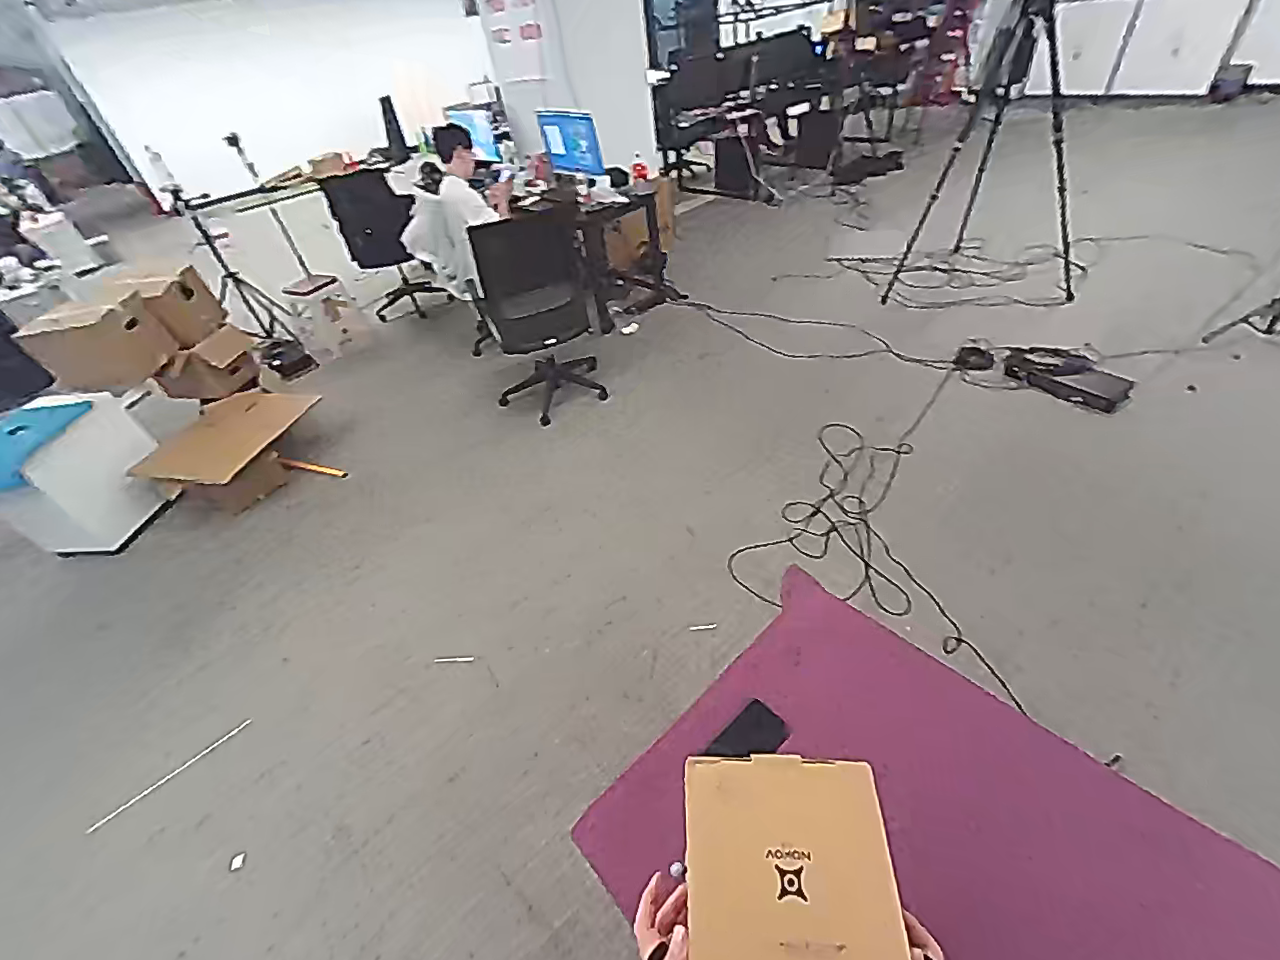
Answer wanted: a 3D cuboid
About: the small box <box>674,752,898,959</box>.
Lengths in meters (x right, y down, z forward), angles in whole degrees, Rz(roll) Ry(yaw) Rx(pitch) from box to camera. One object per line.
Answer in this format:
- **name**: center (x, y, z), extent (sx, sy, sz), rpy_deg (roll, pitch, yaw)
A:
- **small box**: center (0.116, 0.366, 0.492), extent (0.168, 0.176, 0.179), rpy_deg (-2, 49, 6)
